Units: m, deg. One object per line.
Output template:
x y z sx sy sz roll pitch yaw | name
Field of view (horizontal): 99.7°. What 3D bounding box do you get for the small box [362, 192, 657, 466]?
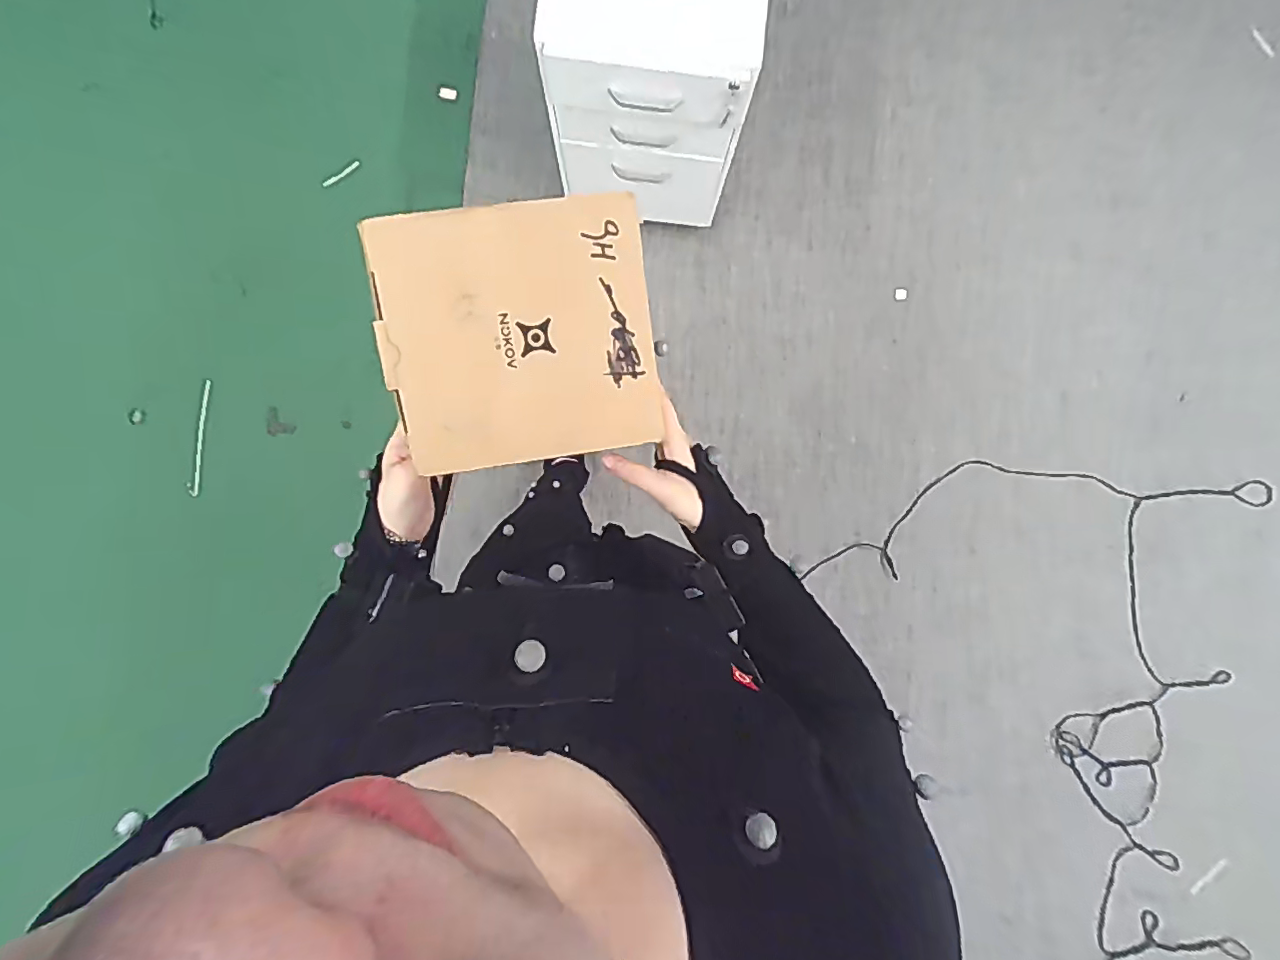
-0.089 -0.113 0.439 0.179 0.176 0.168 -8 103 -5 | small box
